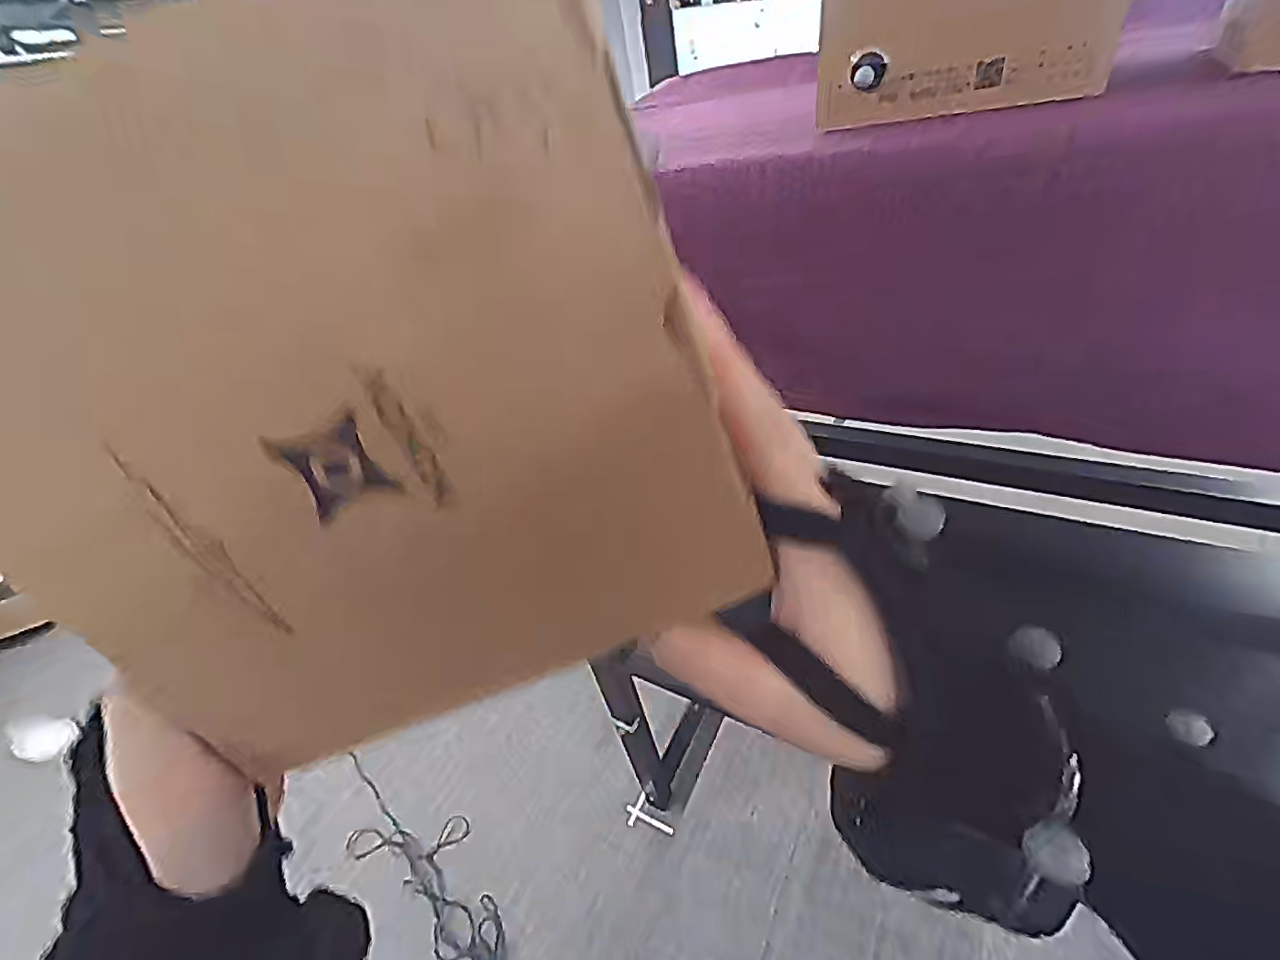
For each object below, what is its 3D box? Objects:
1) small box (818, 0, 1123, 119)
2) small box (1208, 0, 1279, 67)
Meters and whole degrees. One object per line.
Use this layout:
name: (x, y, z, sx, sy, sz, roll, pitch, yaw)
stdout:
small box: (0.217, -0.353, 0.354, 0.168, 0.176, 0.179, 9, 41, 26)
small box: (0.414, -0.308, 0.238, 0.179, 0.176, 0.168, 15, 45, 31)
